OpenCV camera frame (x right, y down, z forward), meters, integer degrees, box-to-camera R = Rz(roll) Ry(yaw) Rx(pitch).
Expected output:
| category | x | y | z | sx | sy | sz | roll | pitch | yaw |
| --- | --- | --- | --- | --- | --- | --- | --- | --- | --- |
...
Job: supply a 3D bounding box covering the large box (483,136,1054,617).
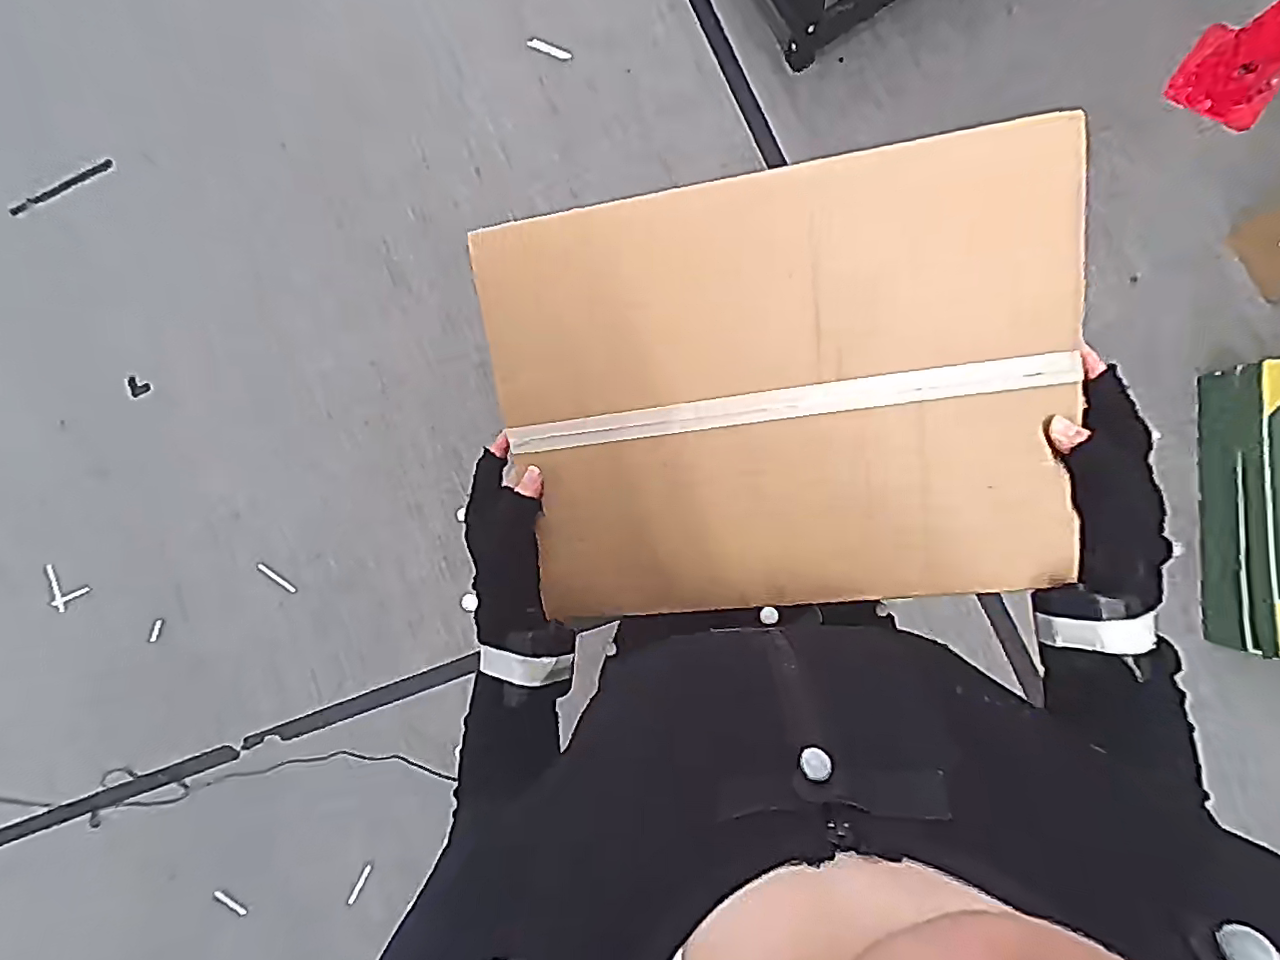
| category | x | y | z | sx | sy | sz | roll | pitch | yaw |
| --- | --- | --- | --- | --- | --- | --- | --- | --- | --- |
| large box | 0.113 | -0.083 | 0.555 | 0.408 | 0.320 | 0.320 | -7 | 103 | 10 |
